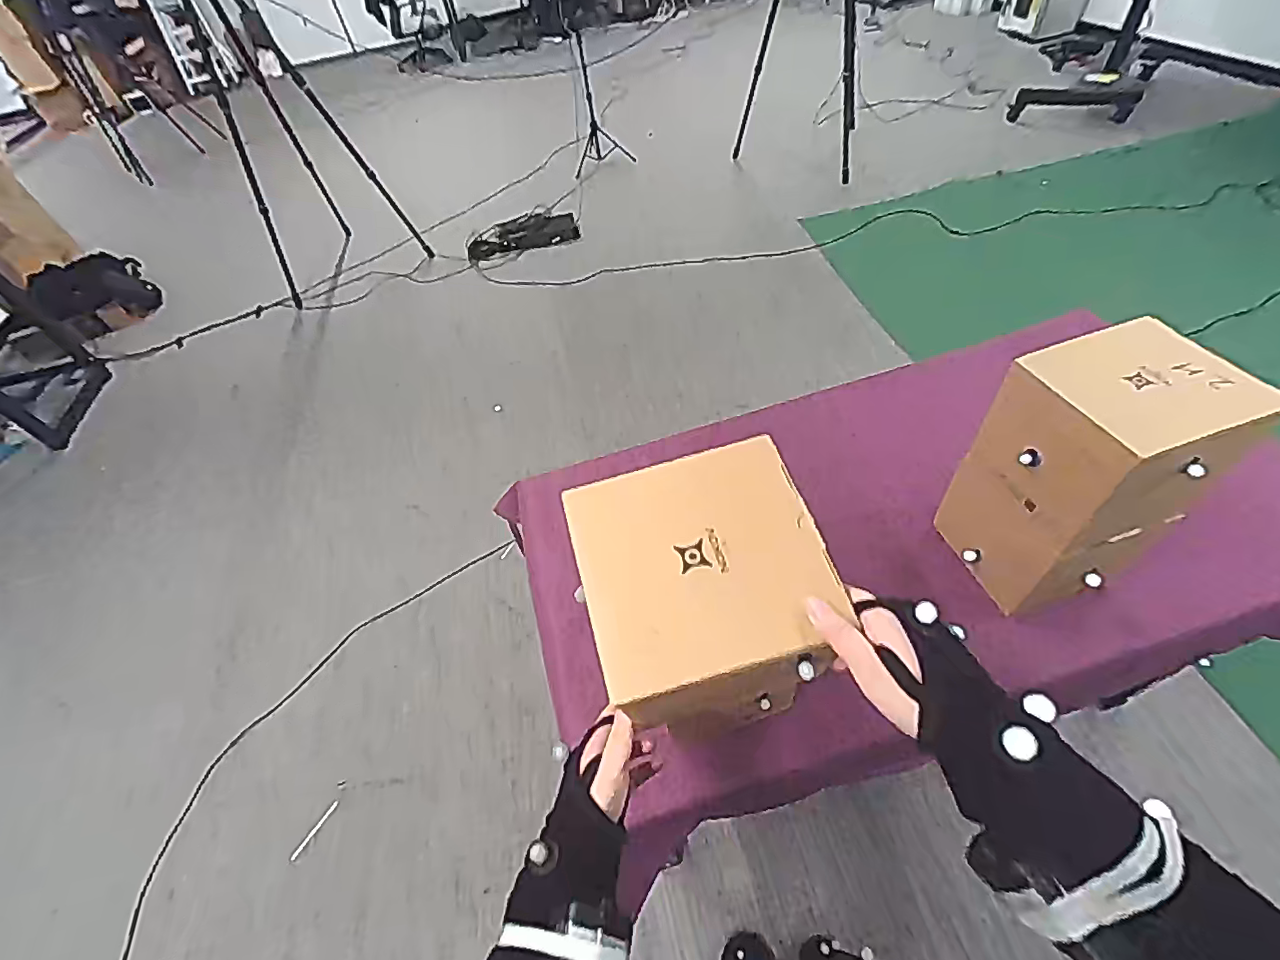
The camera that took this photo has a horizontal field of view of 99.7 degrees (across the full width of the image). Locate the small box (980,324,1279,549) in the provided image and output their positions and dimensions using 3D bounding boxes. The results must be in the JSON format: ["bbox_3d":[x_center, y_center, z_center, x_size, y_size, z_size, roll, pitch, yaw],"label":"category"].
[{"bbox_3d":[0.530,-0.045,0.622,0.179,0.176,0.168,-17,50,-5],"label":"small box"}]

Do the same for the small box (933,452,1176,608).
[{"bbox_3d":[0.549,0.059,0.749,0.168,0.176,0.179,-16,51,-4],"label":"small box"}]

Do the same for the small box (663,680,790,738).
[{"bbox_3d":[0.086,0.213,0.700,0.168,0.176,0.179,-17,49,-6],"label":"small box"}]

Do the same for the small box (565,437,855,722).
[{"bbox_3d":[0.050,0.094,0.464,0.179,0.176,0.168,-16,60,-4],"label":"small box"}]
